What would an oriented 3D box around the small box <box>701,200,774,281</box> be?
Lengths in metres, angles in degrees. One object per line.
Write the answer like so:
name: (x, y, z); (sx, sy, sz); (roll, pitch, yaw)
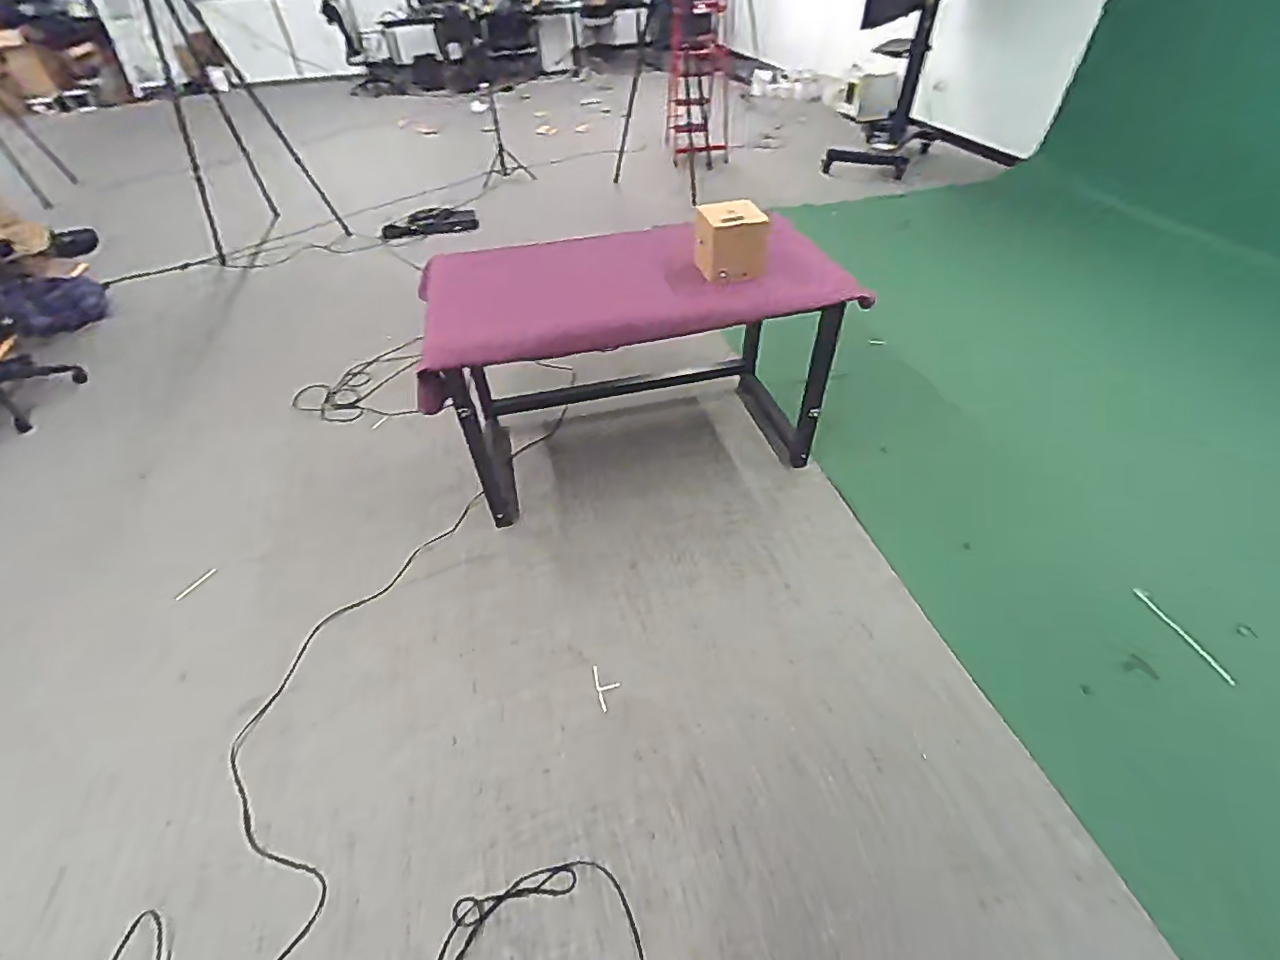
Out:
small box: (0.280, -0.698, 1.588); (0.168, 0.176, 0.179); (-7, 46, -6)
